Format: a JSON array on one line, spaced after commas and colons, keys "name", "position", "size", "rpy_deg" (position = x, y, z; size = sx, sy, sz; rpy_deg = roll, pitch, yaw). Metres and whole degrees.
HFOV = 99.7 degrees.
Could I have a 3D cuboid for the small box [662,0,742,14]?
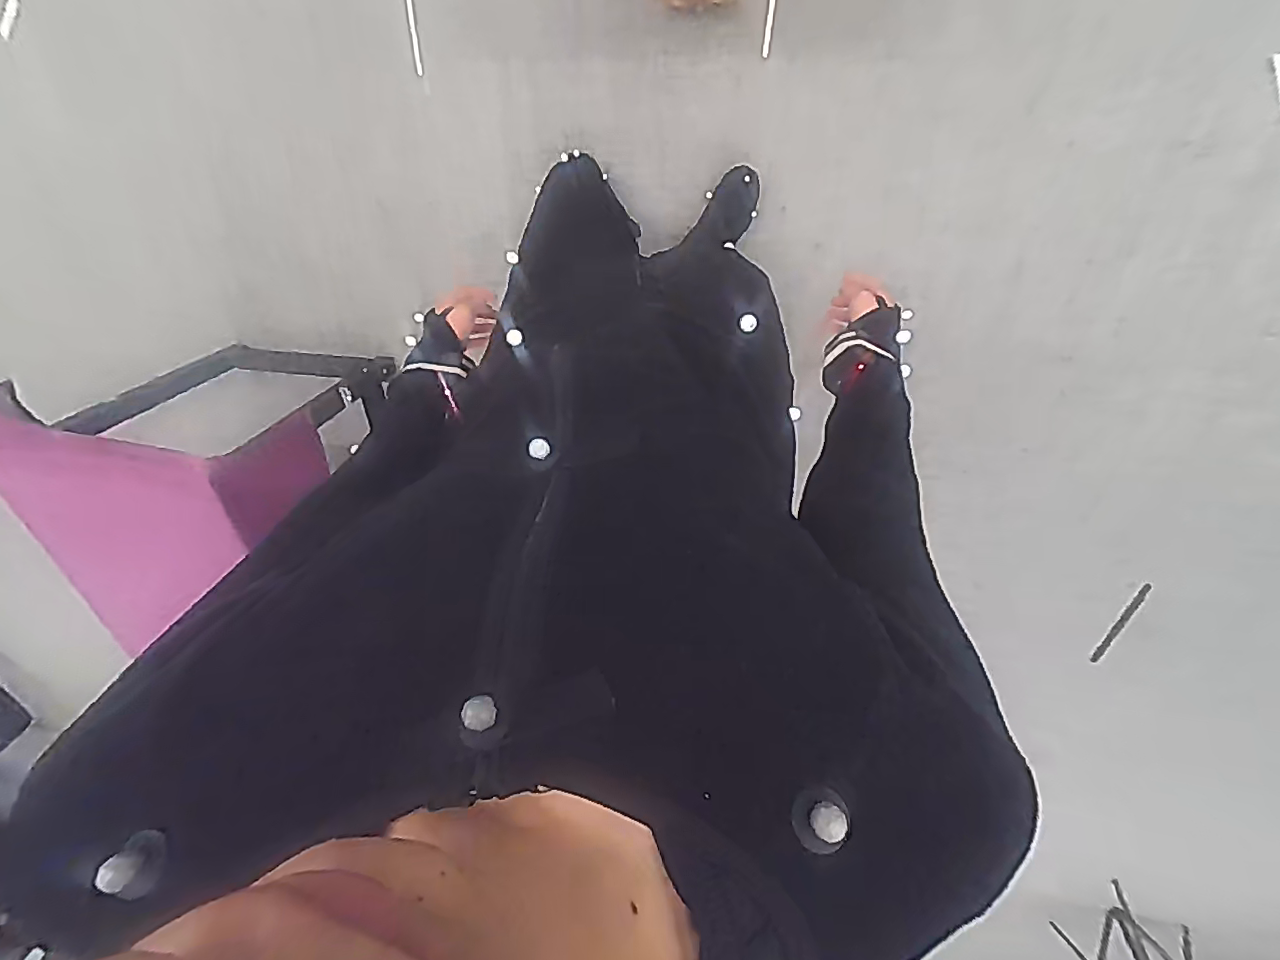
[{"name": "small box", "position": [0.118, -1.013, 1.024], "size": [0.168, 0.176, 0.179], "rpy_deg": [4, 125, 9]}]
